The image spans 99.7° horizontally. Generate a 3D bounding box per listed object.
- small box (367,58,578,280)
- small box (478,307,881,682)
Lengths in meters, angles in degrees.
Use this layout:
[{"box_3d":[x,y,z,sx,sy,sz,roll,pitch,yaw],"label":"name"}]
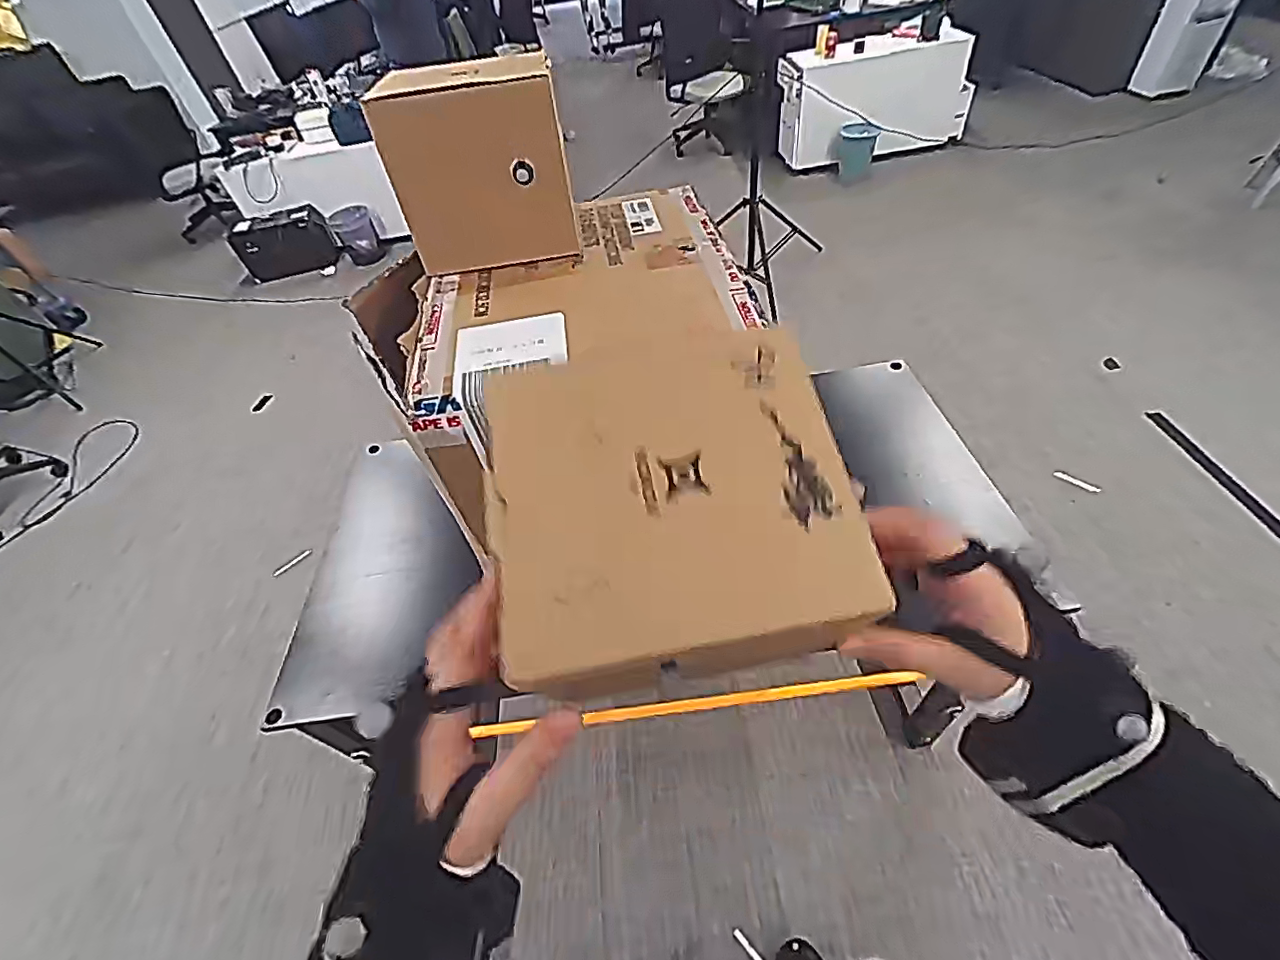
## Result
[{"box_3d":[-0.168,-0.348,0.610,0.179,0.176,0.168,-10,44,-1],"label":"small box"},{"box_3d":[0.013,0.024,0.339,0.179,0.176,0.168,-10,66,-2],"label":"small box"}]
